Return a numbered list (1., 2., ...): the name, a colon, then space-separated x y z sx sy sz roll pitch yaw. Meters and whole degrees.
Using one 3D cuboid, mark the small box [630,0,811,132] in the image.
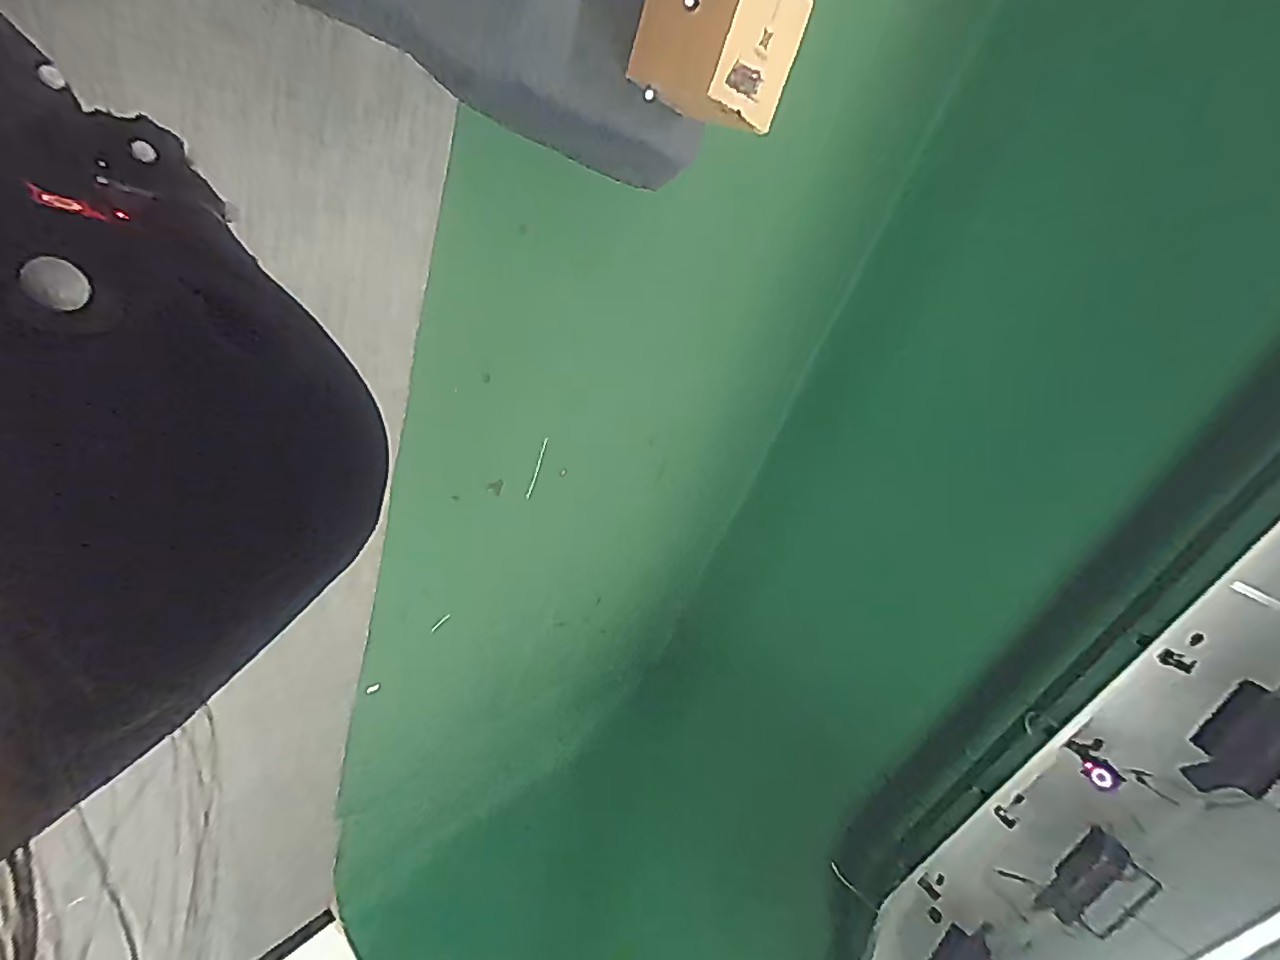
1. small box: 0.110 -0.648 0.789 0.168 0.176 0.179 -12 130 -49
